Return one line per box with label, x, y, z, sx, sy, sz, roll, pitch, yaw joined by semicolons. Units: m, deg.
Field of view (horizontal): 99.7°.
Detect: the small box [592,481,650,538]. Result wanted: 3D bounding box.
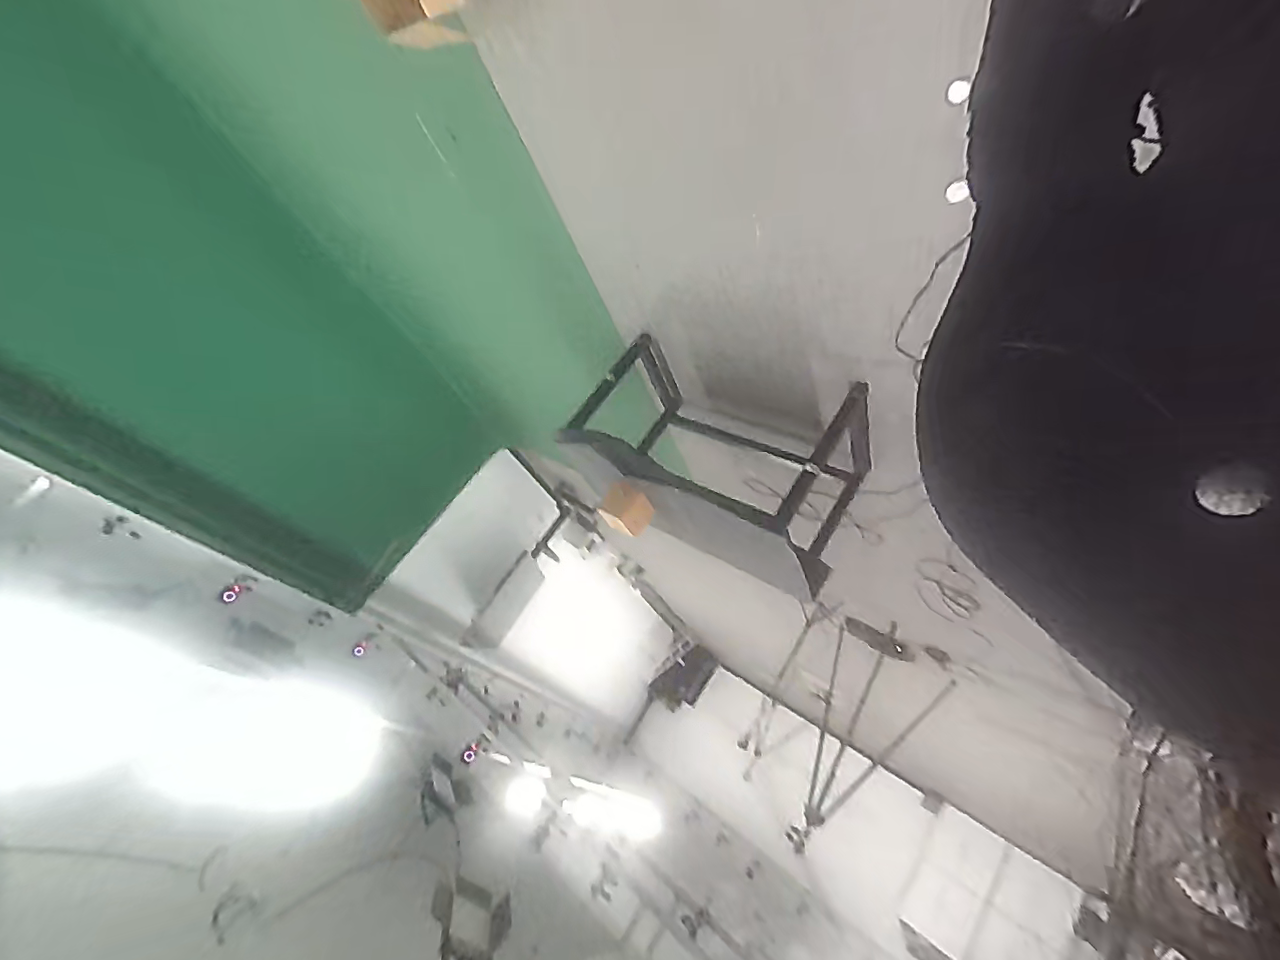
small box;-0.080;0.132;2.478;0.168;0.176;0.179;22;157;37
